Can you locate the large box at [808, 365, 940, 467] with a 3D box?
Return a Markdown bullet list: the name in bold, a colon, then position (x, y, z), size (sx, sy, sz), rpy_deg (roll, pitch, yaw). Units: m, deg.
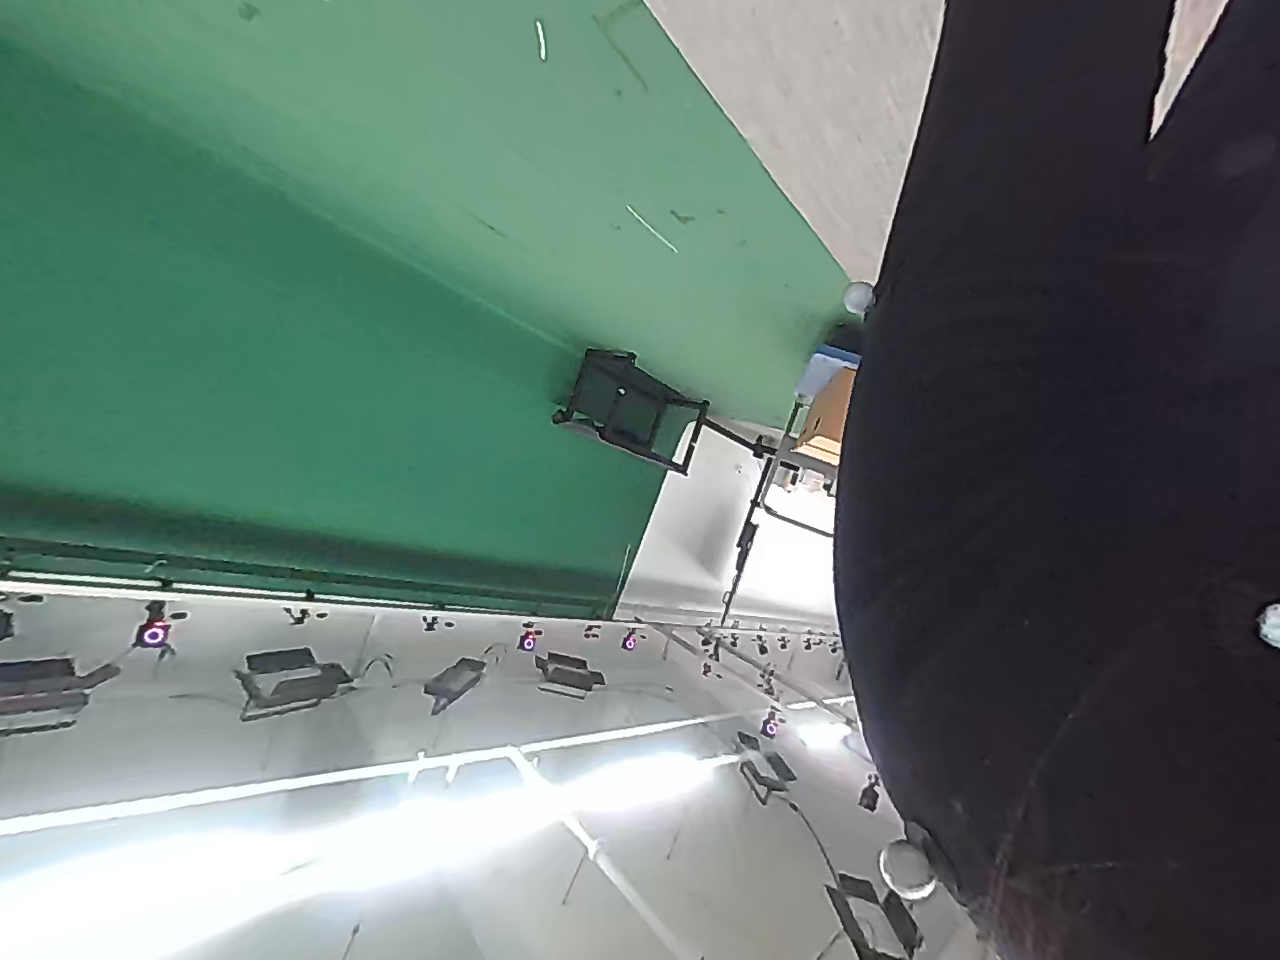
- **large box**: position (1.005, -0.269, 2.360), size (0.408, 0.320, 0.320), rpy_deg (21, -178, 8)
